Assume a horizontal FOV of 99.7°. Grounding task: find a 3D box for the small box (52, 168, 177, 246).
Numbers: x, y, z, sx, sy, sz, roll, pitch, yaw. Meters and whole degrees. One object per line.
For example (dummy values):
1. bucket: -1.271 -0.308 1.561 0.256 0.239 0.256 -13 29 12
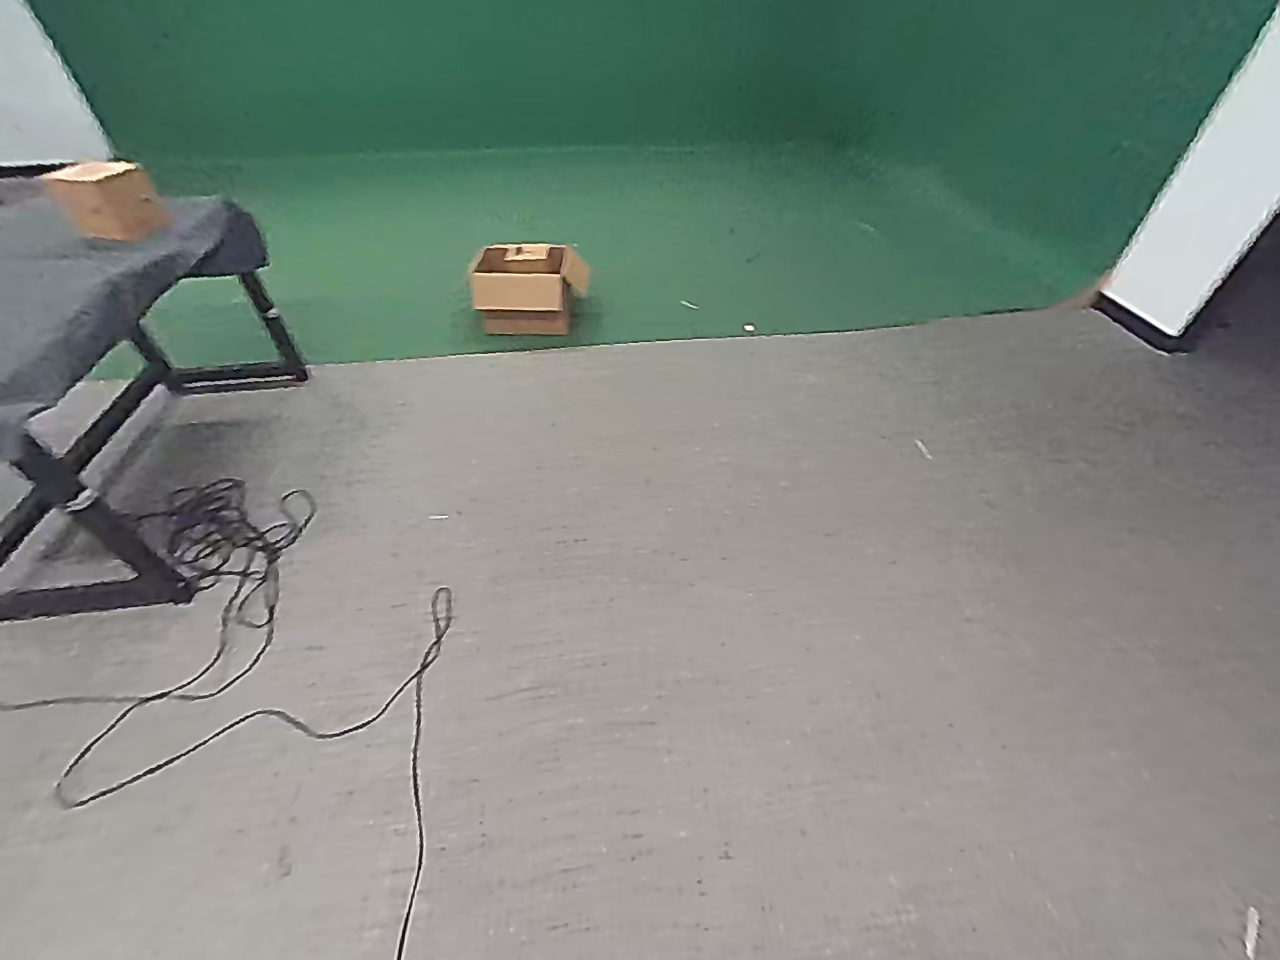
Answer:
1. small box: -1.575 -0.824 1.636 0.179 0.176 0.168 7 44 9
